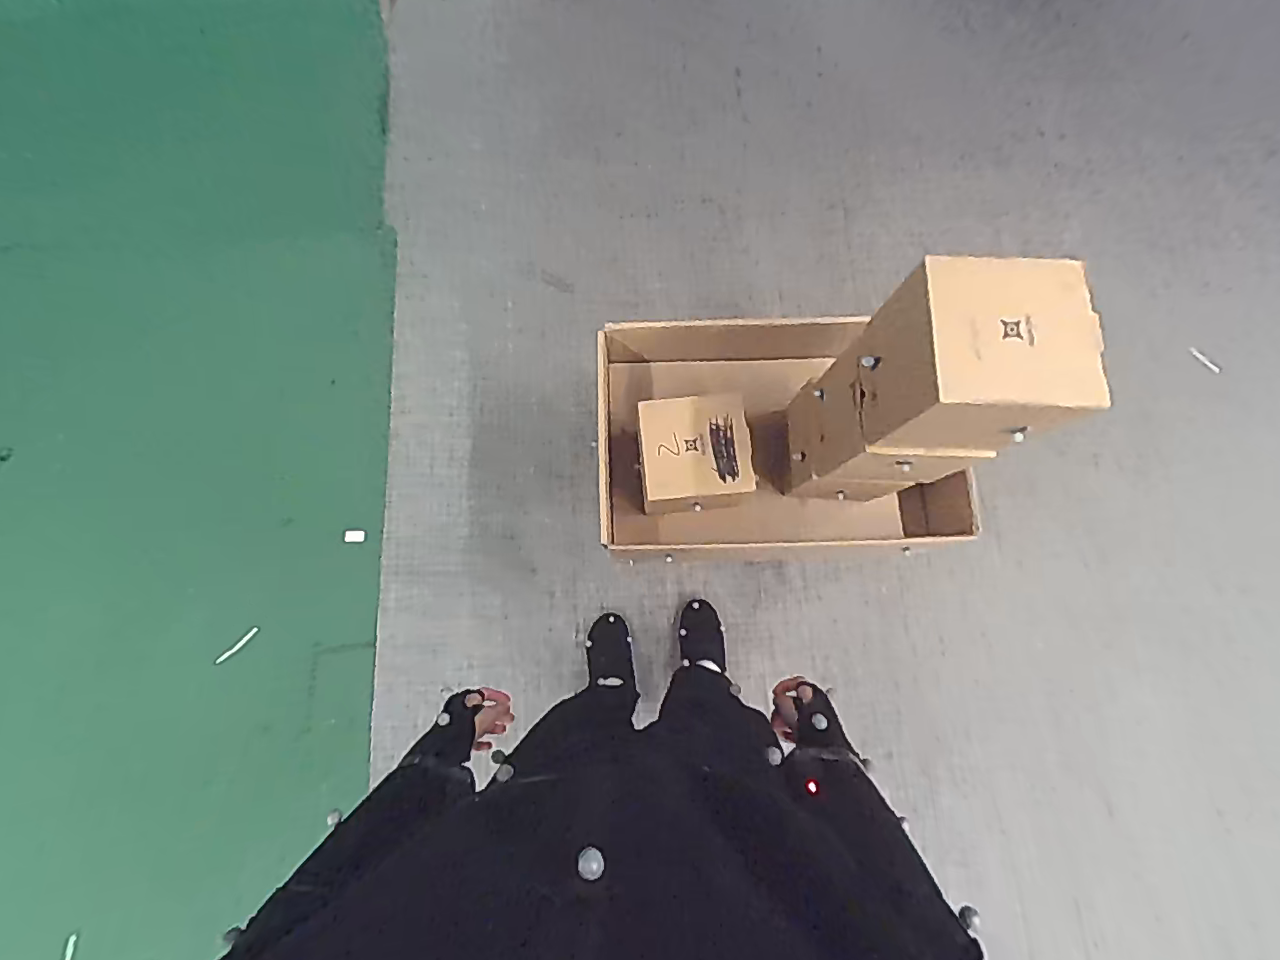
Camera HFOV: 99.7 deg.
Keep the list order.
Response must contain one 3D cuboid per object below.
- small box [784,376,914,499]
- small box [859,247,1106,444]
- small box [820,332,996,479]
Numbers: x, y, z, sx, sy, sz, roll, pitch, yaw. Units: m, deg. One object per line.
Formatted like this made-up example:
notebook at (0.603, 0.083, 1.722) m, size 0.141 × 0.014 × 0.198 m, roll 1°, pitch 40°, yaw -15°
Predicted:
small box at (0.356, -0.066, 0.946) m, size 0.168 × 0.176 × 0.179 m, roll 3°, pitch 77°, yaw 0°
small box at (0.377, -0.144, 0.628) m, size 0.179 × 0.176 × 0.168 m, roll 1°, pitch 77°, yaw 0°
small box at (0.370, -0.099, 0.785) m, size 0.179 × 0.176 × 0.168 m, roll 2°, pitch 78°, yaw 0°
